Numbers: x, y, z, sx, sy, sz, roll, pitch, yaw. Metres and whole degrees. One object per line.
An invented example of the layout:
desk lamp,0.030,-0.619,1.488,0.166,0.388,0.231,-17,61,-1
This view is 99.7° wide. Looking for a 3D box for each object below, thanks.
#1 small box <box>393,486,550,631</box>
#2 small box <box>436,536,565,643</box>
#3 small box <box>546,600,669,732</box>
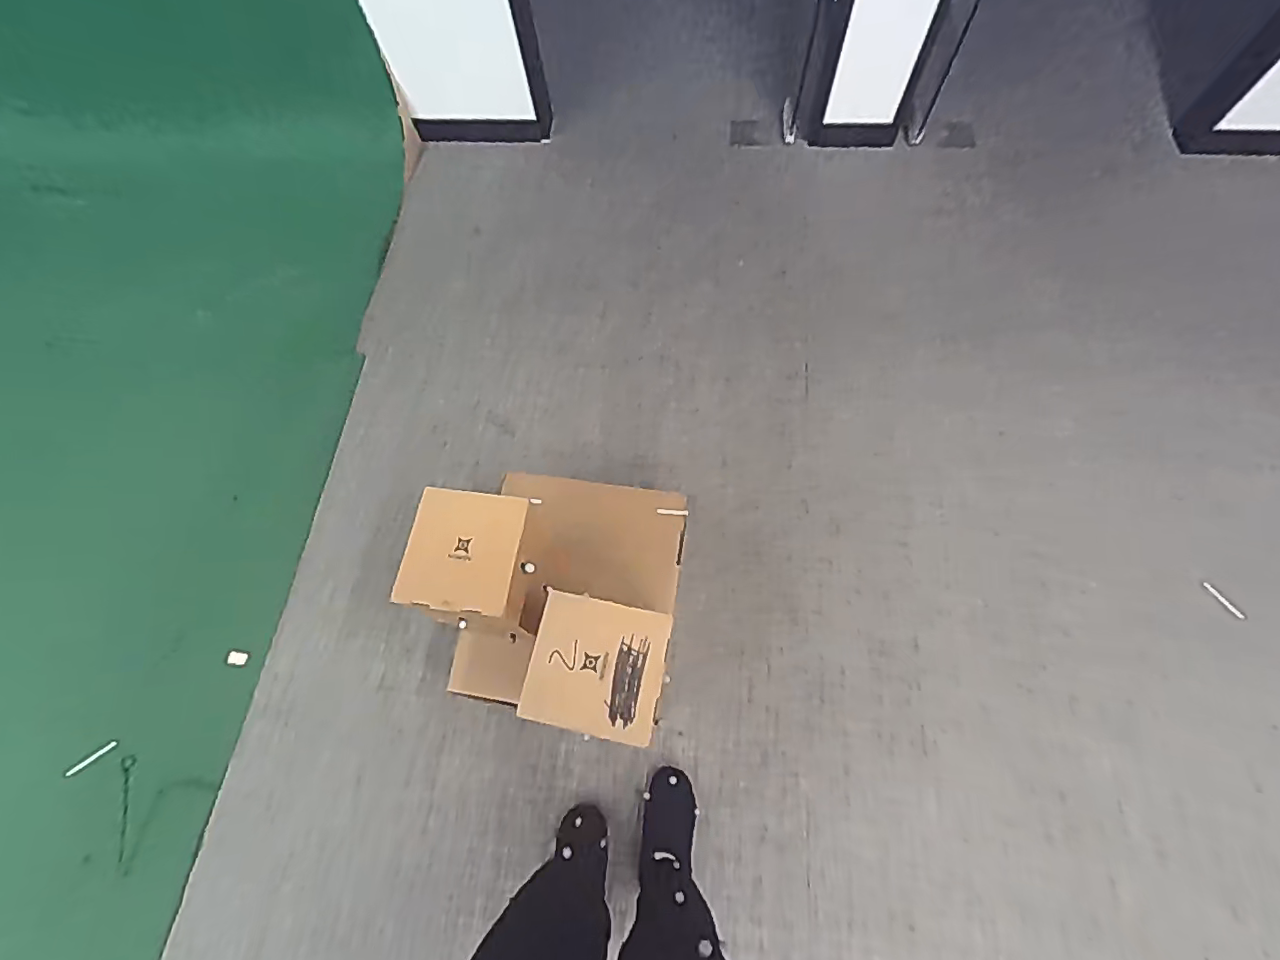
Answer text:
small box,-0.248,0.129,0.848,0.168,0.176,0.179,8,70,7
small box,-0.244,0.195,0.998,0.168,0.176,0.179,8,67,7
small box,-0.047,0.322,0.930,0.168,0.176,0.179,9,67,7
